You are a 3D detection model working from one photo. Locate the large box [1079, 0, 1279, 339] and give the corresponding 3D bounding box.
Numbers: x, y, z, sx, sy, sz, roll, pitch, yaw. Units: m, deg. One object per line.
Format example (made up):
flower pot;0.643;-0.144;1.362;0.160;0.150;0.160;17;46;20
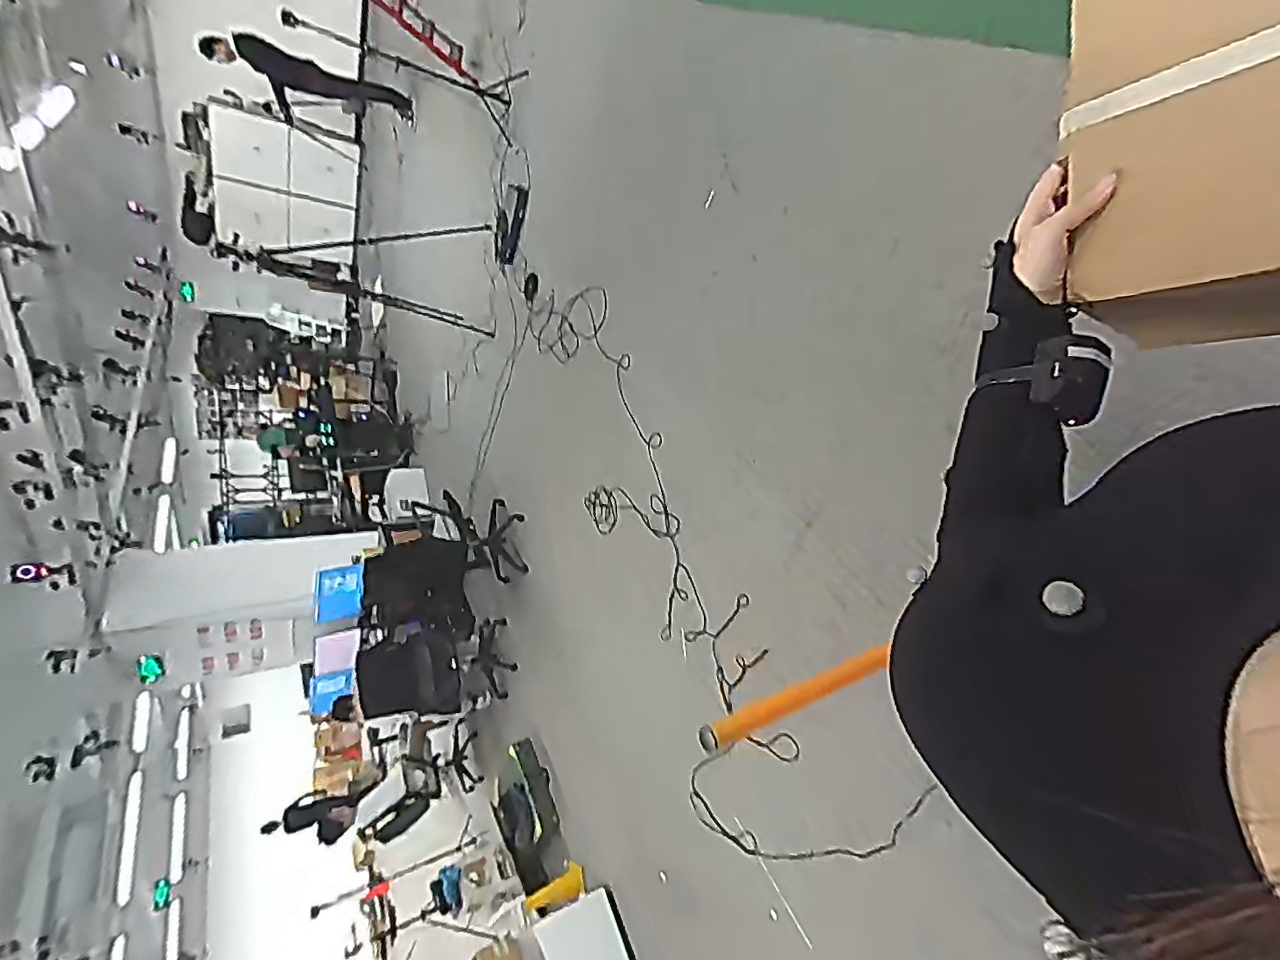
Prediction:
large box;0.614;-0.315;0.405;0.408;0.320;0.320;2;94;49
